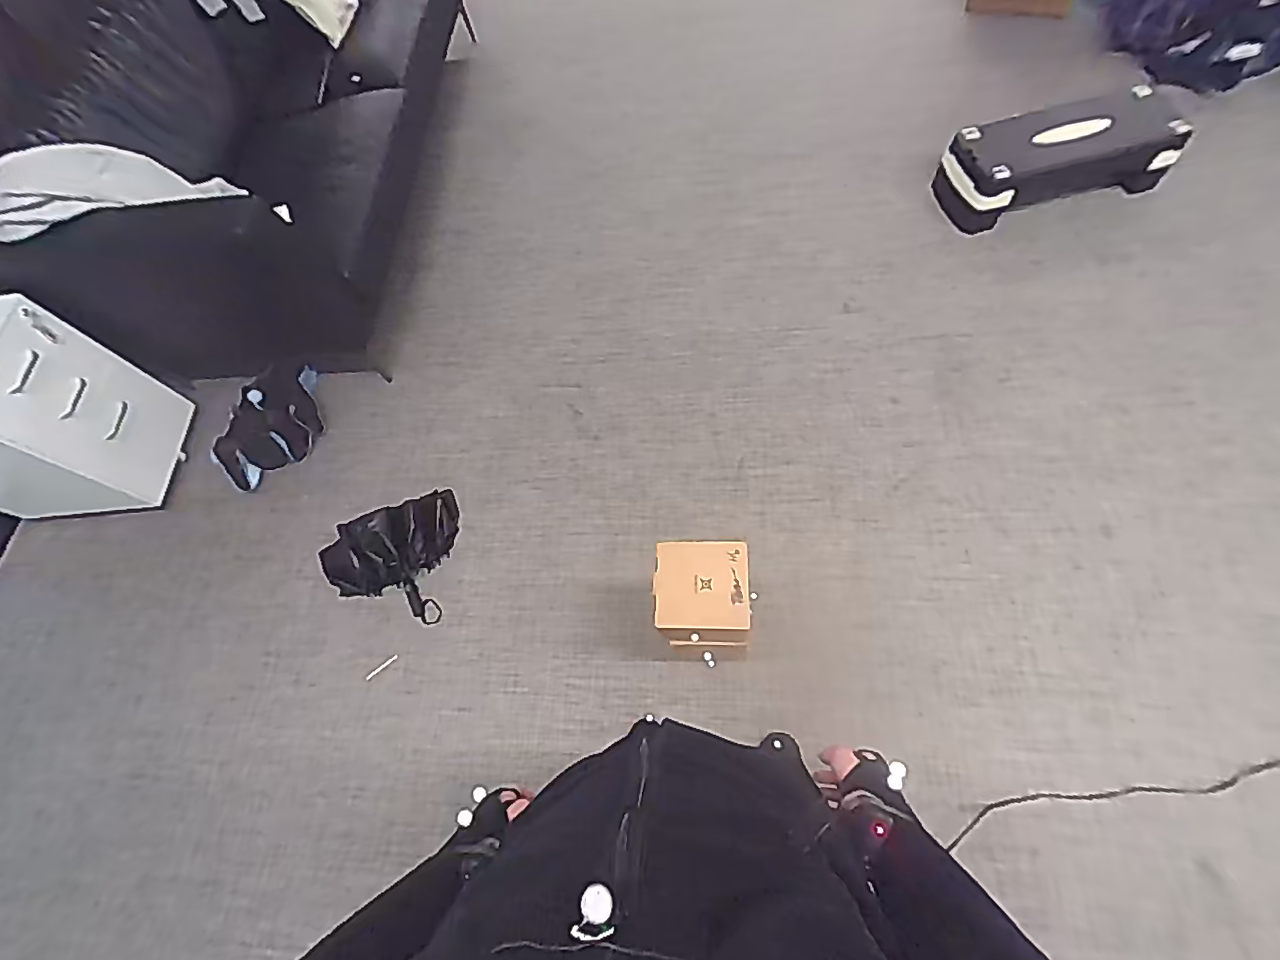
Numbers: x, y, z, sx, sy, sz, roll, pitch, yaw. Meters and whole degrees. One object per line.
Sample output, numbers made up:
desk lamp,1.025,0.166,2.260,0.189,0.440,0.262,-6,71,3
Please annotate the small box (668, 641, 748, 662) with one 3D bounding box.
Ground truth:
small box,0.153,0.309,1.223,0.168,0.176,0.179,-3,65,8

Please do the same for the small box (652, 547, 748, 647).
small box,0.125,0.238,1.078,0.179,0.176,0.168,-1,65,9

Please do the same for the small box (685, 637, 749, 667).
small box,0.184,0.373,1.372,0.168,0.176,0.179,-4,66,8
